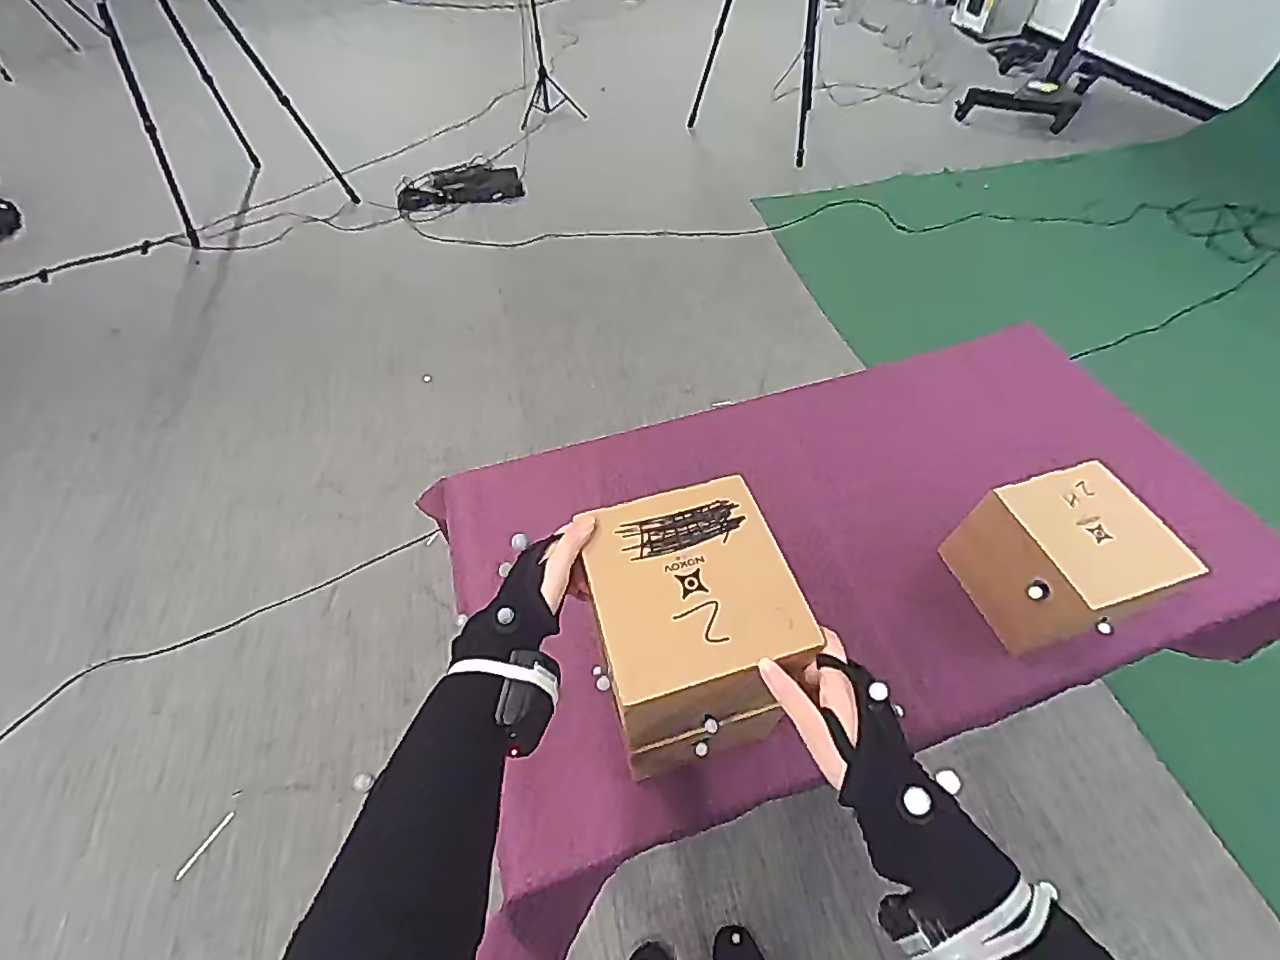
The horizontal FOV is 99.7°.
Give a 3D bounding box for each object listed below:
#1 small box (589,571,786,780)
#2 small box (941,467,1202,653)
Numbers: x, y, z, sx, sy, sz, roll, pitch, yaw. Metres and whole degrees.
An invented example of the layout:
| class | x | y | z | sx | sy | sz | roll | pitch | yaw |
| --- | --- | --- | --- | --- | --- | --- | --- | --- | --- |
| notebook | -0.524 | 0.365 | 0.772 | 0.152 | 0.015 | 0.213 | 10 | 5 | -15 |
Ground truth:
| class | x | y | z | sx | sy | sz | roll | pitch | yaw |
| --- | --- | --- | --- | --- | --- | --- | --- | --- | --- |
| small box | 0.049 | 0.238 | 0.647 | 0.179 | 0.176 | 0.168 | -14 | 54 | -9 |
| small box | 0.552 | 0.115 | 0.724 | 0.168 | 0.176 | 0.179 | -14 | 54 | -9 |
